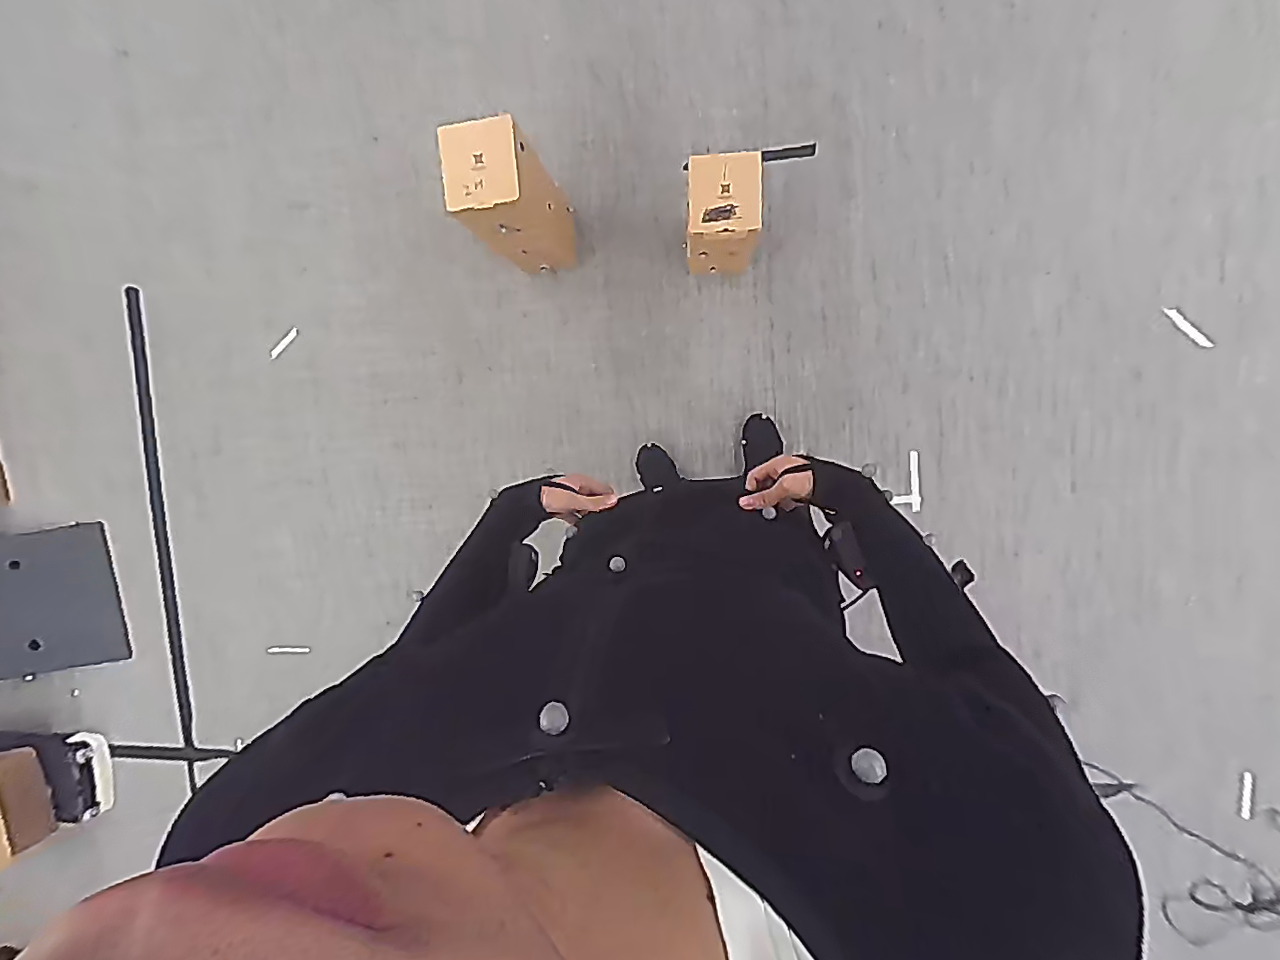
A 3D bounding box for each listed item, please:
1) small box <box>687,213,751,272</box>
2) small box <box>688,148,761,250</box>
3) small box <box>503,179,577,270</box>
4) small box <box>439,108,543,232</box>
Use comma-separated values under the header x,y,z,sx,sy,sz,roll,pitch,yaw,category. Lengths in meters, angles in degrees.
x,y,z,sx,sy,sz,roll,pitch,yaw,category
0.211,-0.679,1.467,0.168,0.176,0.179,0,96,6,small box
0.200,-0.665,1.303,0.168,0.176,0.179,-1,95,6,small box
-0.279,-0.711,1.519,0.168,0.176,0.179,-4,94,8,small box
-0.322,-0.675,1.195,0.168,0.176,0.179,-4,95,8,small box
